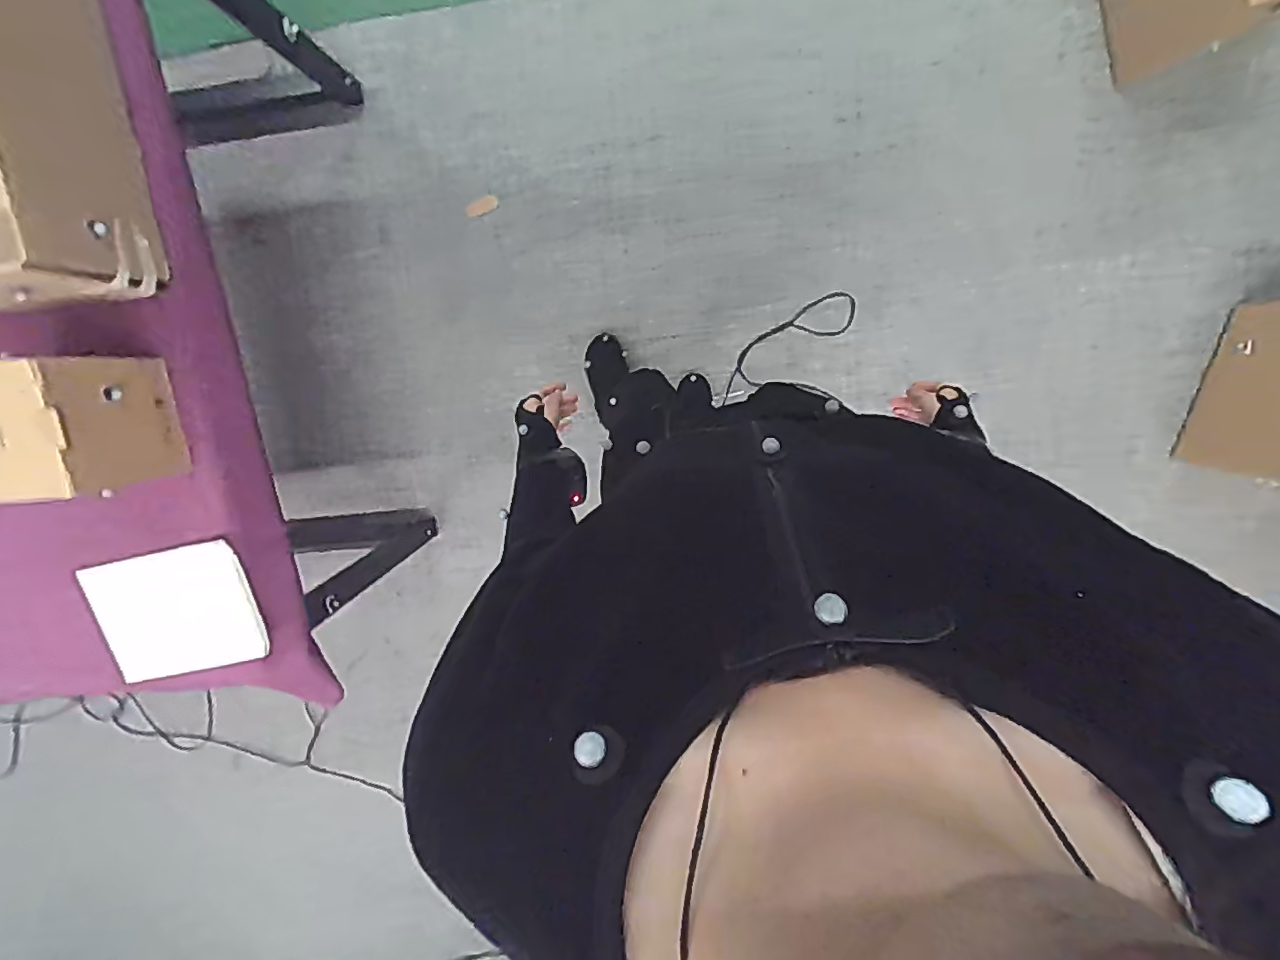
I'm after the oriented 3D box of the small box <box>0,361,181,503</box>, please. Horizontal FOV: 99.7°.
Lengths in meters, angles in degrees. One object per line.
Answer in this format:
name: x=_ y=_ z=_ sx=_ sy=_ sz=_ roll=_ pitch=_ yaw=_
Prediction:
small box: x=-0.762 y=-0.070 z=0.717 sx=0.179 sy=0.176 sz=0.168 roll=-4 pitch=101 yaw=5
